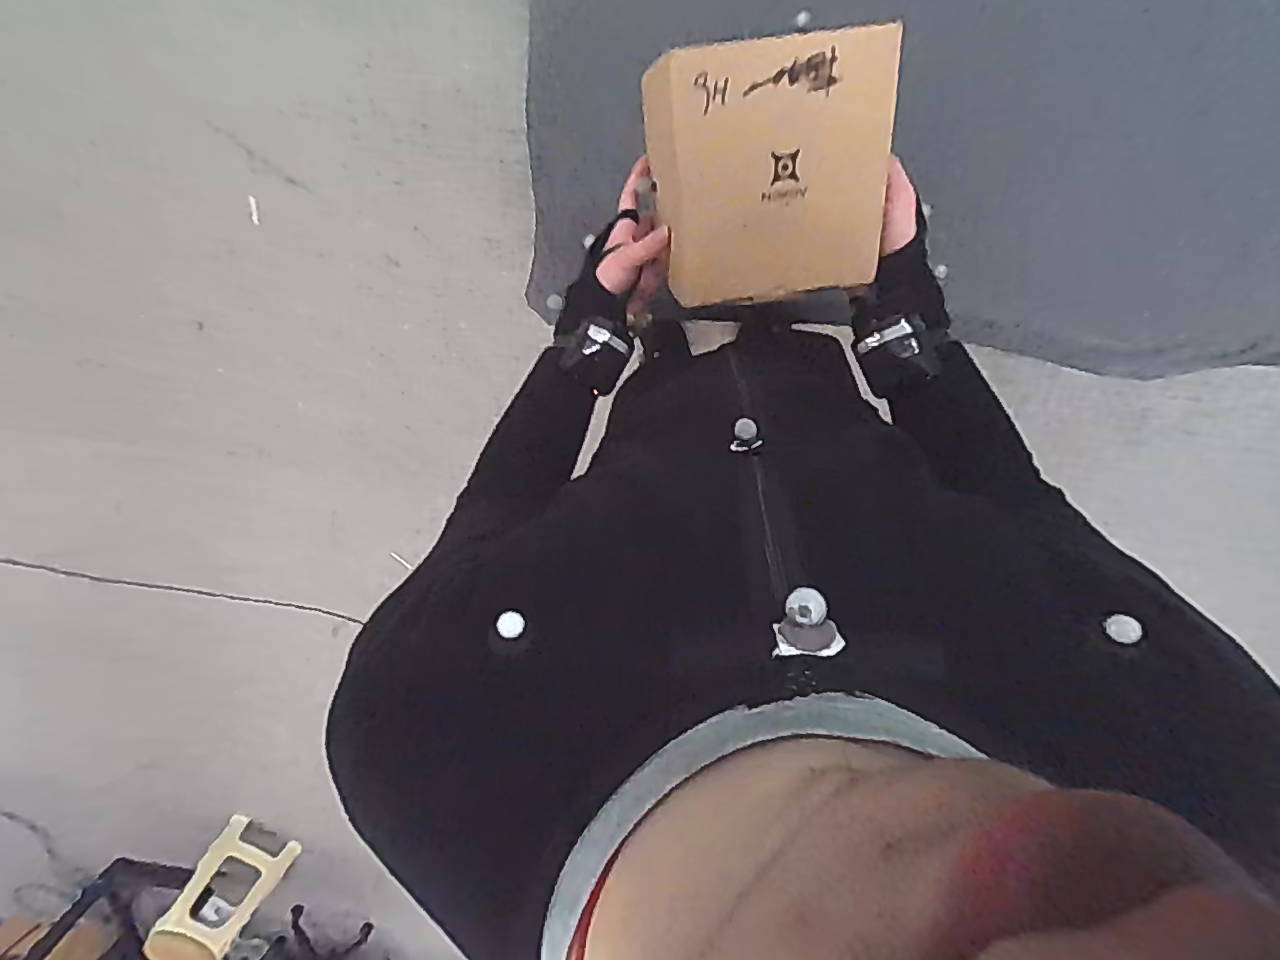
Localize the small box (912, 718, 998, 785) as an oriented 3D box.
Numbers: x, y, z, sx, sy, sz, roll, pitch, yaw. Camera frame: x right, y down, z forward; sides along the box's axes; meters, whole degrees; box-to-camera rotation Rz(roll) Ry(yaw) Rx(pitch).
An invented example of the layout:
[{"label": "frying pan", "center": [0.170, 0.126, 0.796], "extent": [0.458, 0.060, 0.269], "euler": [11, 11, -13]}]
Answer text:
[{"label": "small box", "center": [1.112, 0.984, 1.925], "extent": [0.179, 0.176, 0.168], "euler": [17, 113, -1]}]
